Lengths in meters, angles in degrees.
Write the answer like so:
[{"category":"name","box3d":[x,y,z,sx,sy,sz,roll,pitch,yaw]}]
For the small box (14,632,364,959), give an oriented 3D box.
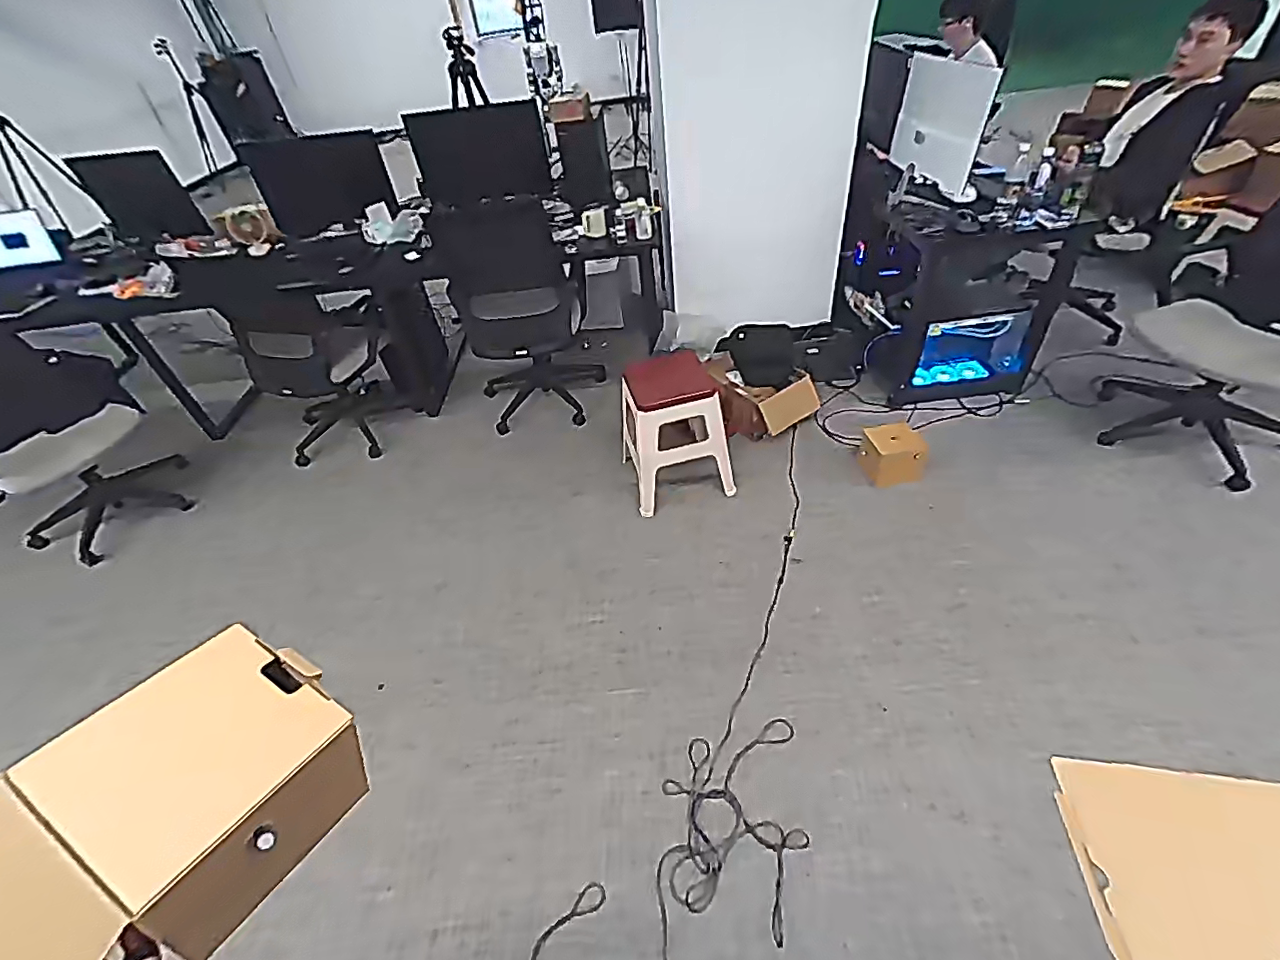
[{"category":"small box","box3d":[-0.385,0.287,0.501,0.168,0.176,0.179,28,39,15]}]
